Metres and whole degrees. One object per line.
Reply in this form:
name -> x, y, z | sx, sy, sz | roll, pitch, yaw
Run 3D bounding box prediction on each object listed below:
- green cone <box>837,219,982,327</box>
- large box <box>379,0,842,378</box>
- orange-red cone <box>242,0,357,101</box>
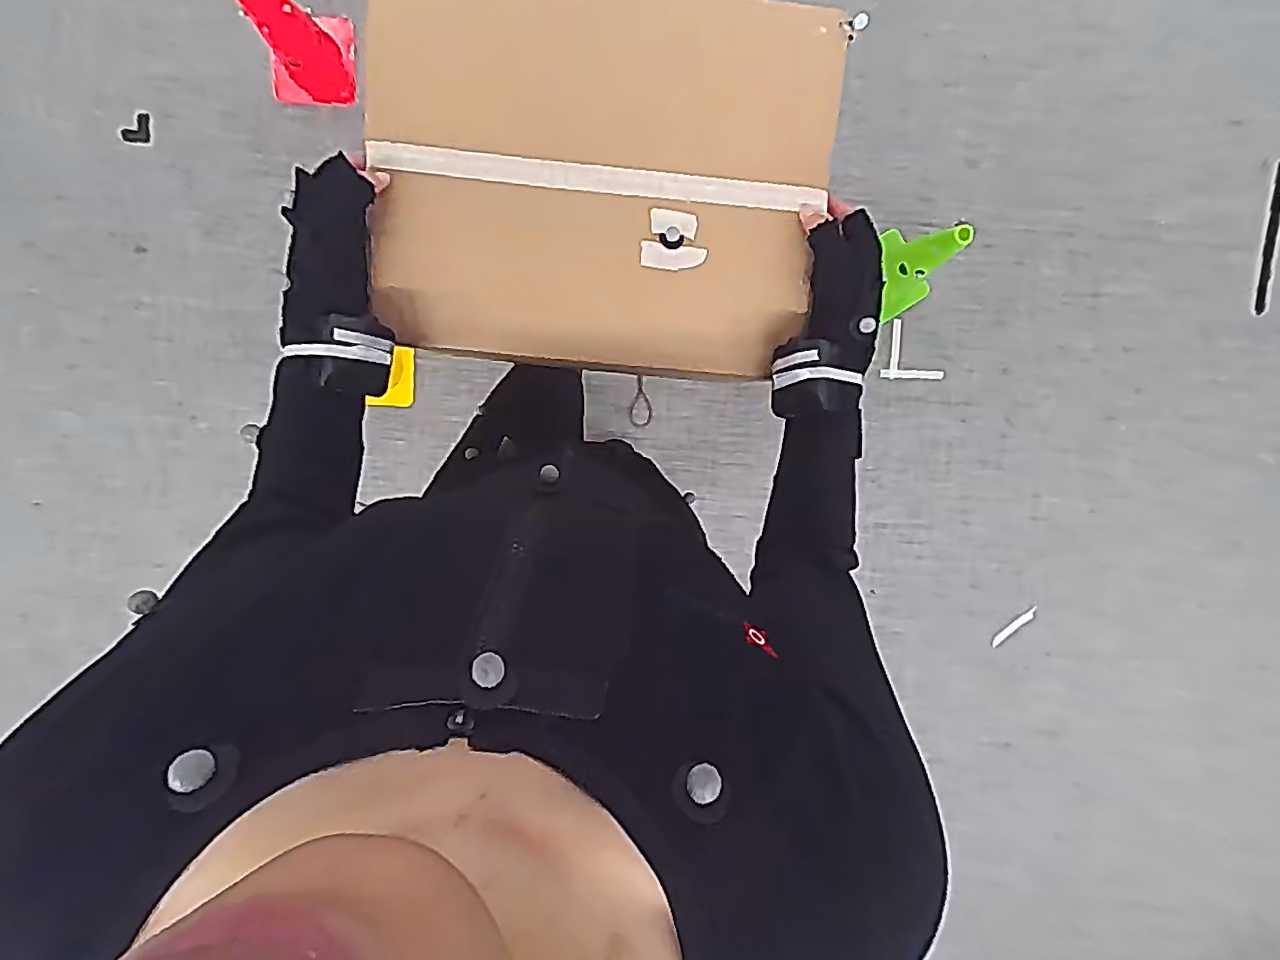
green cone -> 0.652, -0.514, 1.256 | 0.202, 0.368, 0.200 | -33, 97, 1
large box -> -0.039, -0.292, 0.630 | 0.408, 0.320, 0.320 | 4, 100, -4
orange-red cone -> -0.797, -1.019, 1.163 | 0.198, 0.360, 0.199 | 2, 98, -1
